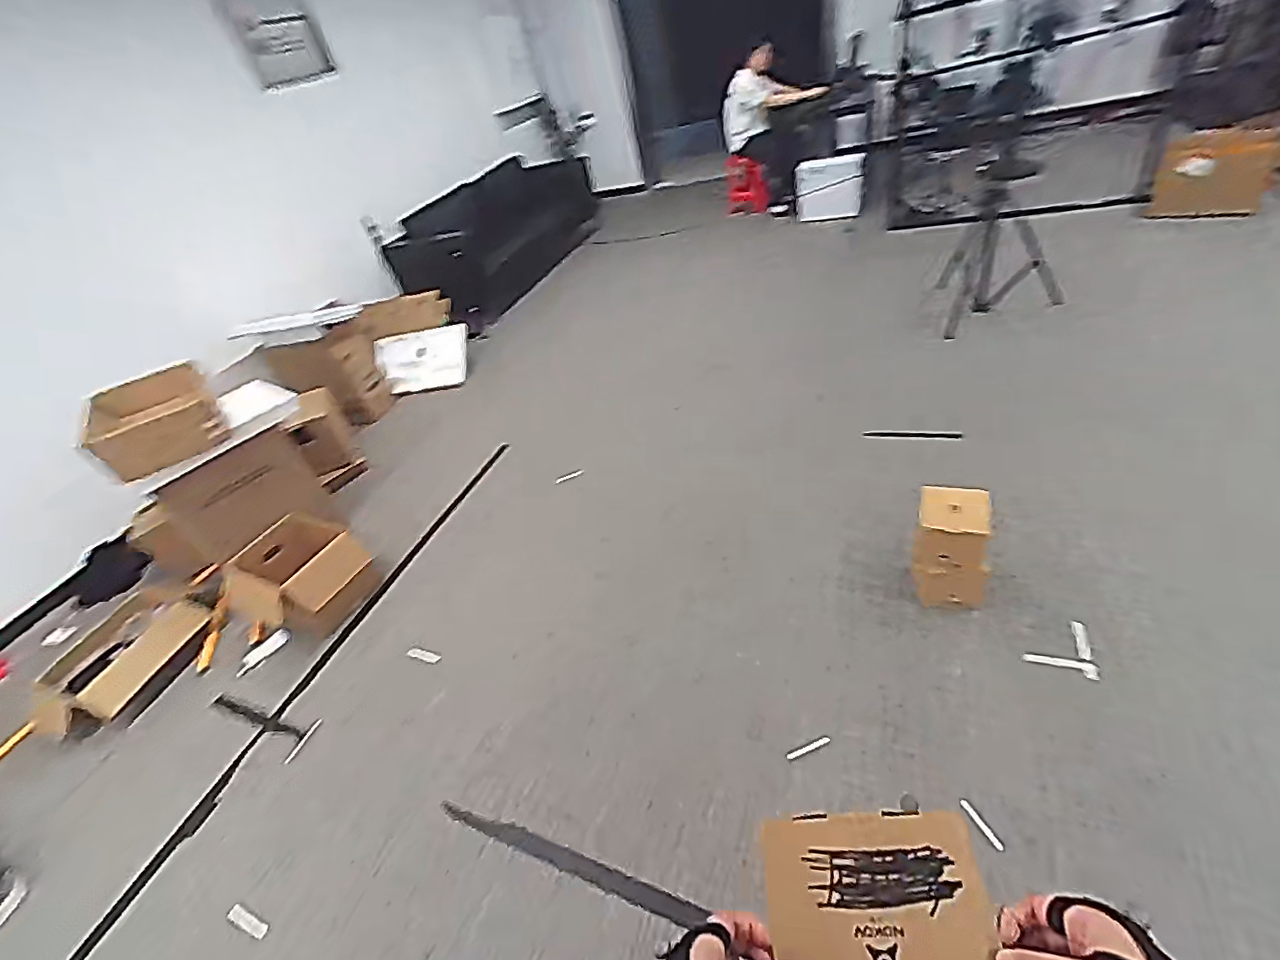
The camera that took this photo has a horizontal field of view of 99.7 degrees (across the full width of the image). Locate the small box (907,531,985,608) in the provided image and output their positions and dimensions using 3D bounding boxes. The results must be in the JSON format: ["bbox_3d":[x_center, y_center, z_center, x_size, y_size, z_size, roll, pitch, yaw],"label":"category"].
[{"bbox_3d":[0.930,0.272,1.660,0.168,0.176,0.179,-5,40,16],"label":"small box"}]

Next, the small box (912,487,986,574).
[{"bbox_3d":[0.889,0.145,1.566,0.168,0.176,0.179,5,44,25],"label":"small box"}]
